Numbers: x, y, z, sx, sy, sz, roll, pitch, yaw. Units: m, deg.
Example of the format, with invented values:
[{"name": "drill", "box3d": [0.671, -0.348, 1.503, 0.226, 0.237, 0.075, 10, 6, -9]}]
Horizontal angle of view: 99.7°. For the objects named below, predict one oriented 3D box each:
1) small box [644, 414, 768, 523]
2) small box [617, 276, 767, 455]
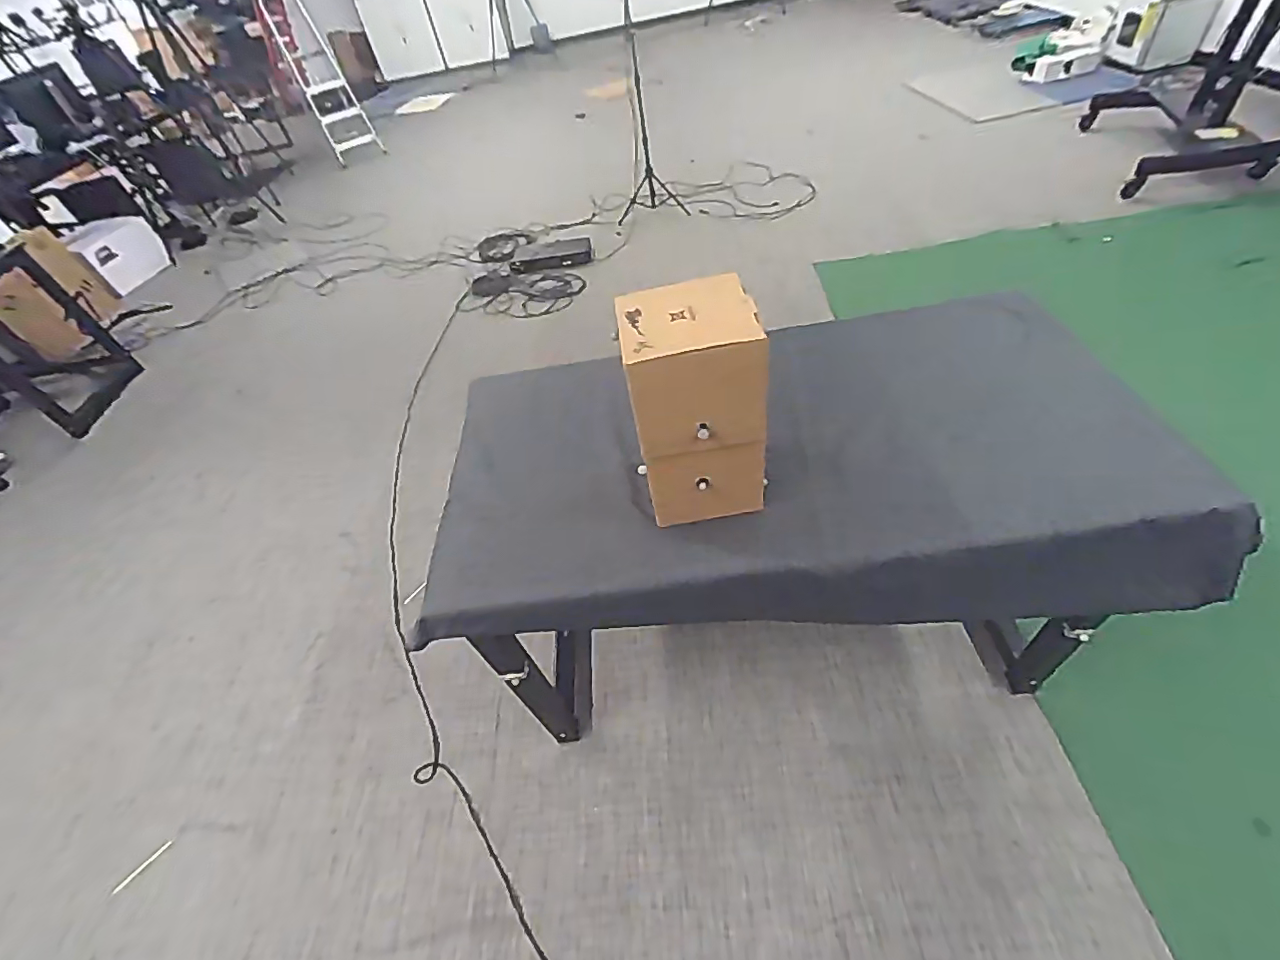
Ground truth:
[{"name": "small box", "box3d": [0.096, -0.052, 0.880, 0.179, 0.176, 0.168, -11, 48, 0]}, {"name": "small box", "box3d": [0.069, -0.156, 0.756, 0.179, 0.176, 0.168, -9, 47, 2]}]
